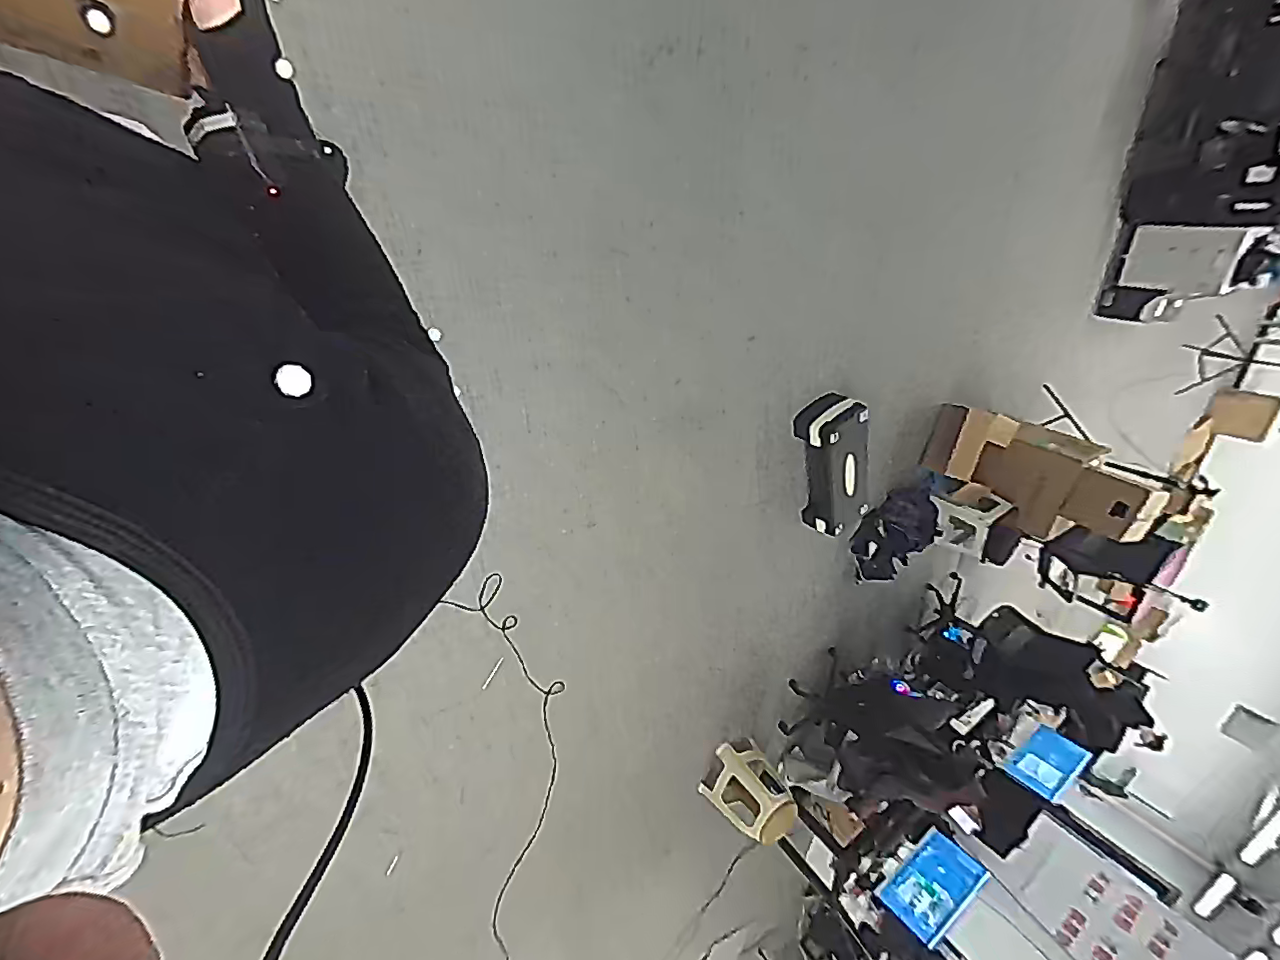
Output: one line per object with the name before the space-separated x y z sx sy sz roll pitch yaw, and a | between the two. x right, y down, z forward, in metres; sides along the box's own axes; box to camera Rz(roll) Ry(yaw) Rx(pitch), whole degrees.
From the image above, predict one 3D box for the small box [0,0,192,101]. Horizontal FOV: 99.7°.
small box | -0.403 -0.401 0.353 0.168 0.176 0.179 -2 91 -39
